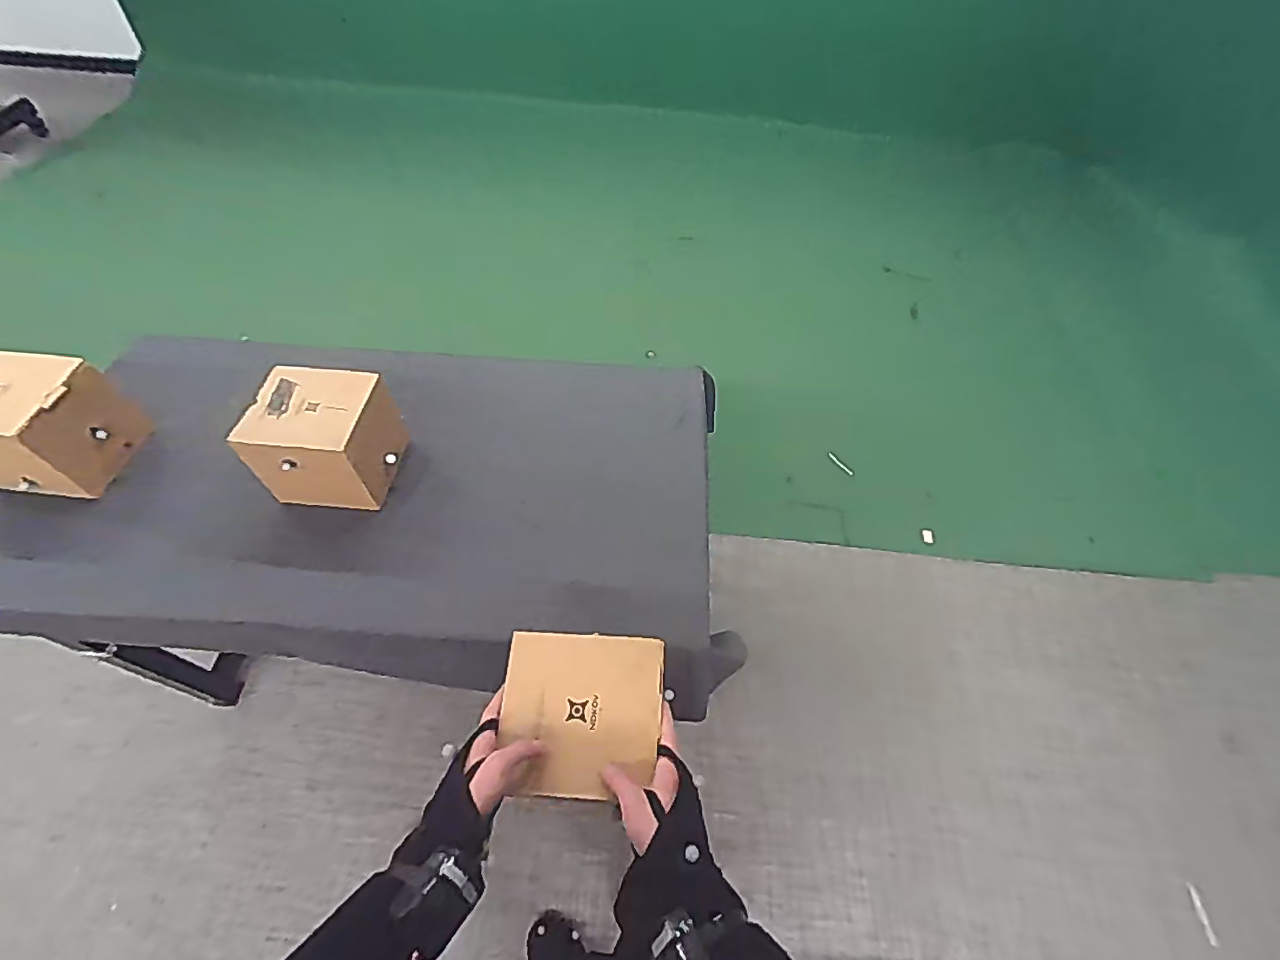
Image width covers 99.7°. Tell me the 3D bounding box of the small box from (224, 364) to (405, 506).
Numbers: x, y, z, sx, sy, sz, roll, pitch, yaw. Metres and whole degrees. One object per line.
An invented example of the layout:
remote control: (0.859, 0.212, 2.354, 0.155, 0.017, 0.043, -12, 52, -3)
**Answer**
small box: (-0.526, -0.070, 0.906, 0.179, 0.176, 0.168, 5, 55, 0)

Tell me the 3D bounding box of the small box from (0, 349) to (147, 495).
small box: (-0.993, -0.091, 0.895, 0.179, 0.176, 0.168, 6, 55, 0)

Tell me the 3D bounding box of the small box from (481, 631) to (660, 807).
small box: (-0.067, 0.288, 0.643, 0.179, 0.176, 0.168, 1, 57, 3)
